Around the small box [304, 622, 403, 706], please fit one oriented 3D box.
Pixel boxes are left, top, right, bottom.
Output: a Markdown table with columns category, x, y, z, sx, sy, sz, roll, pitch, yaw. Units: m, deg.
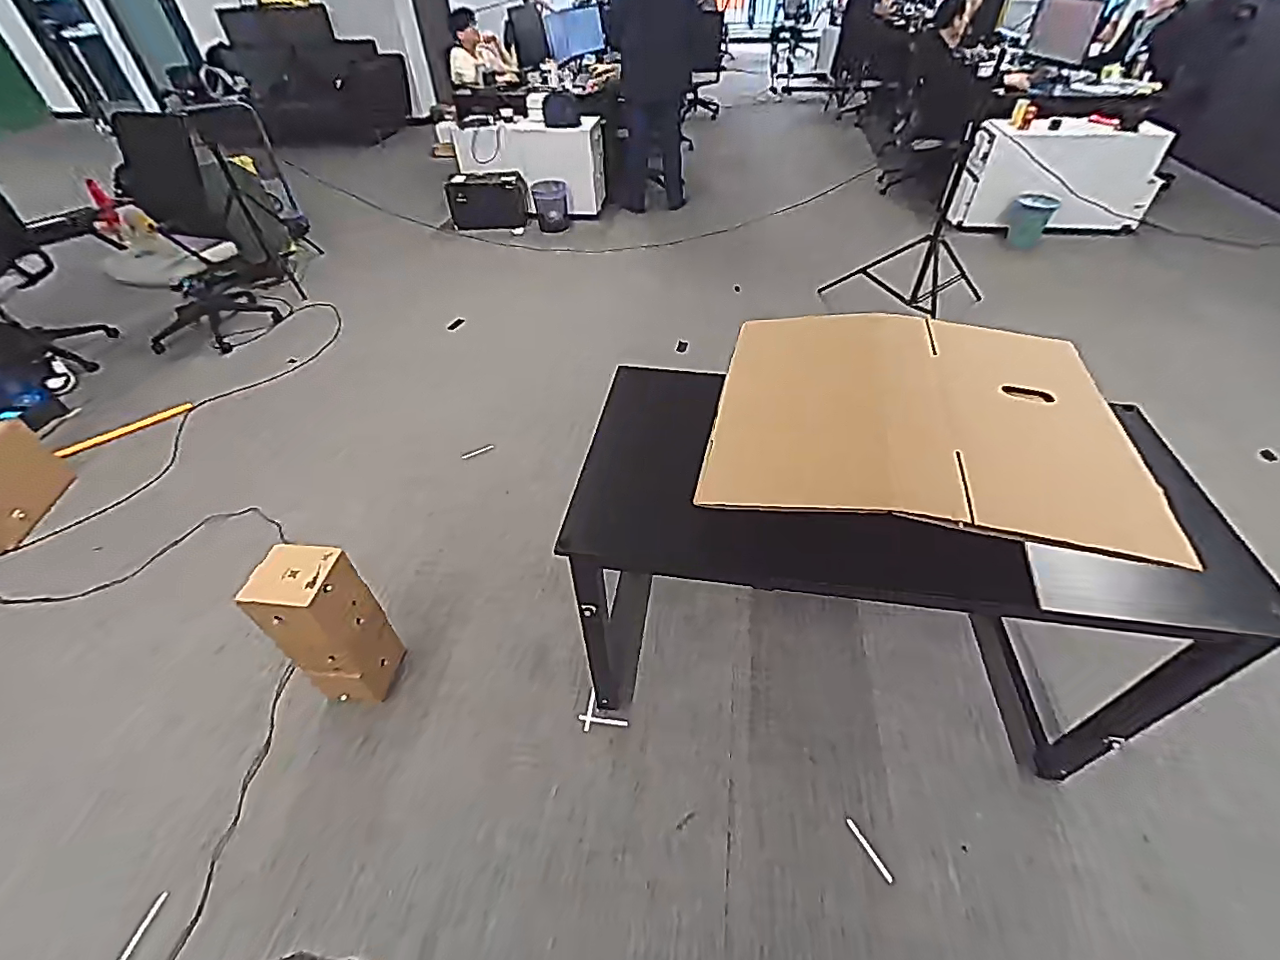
| category | x | y | z | sx | sy | sz | roll | pitch | yaw |
| --- | --- | --- | --- | --- | --- | --- | --- | --- | --- |
| small box | -0.800 | 0.518 | 1.536 | 0.168 | 0.176 | 0.179 | 2 | 46 | 5 |

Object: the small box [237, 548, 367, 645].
| category | x | y | z | sx | sy | sz | roll | pitch | yaw |
| --- | --- | --- | --- | --- | --- | --- | --- | --- | --- |
| small box | -0.806 | 0.283 | 1.309 | 0.179 | 0.176 | 0.168 | 3 | 45 | 4 |

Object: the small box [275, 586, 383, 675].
| category | x | y | z | sx | sy | sz | roll | pitch | yaw |
| --- | --- | --- | --- | --- | --- | --- | --- | --- | --- |
| small box | -0.806 | 0.398 | 1.426 | 0.168 | 0.176 | 0.179 | 1 | 43 | 1 |
